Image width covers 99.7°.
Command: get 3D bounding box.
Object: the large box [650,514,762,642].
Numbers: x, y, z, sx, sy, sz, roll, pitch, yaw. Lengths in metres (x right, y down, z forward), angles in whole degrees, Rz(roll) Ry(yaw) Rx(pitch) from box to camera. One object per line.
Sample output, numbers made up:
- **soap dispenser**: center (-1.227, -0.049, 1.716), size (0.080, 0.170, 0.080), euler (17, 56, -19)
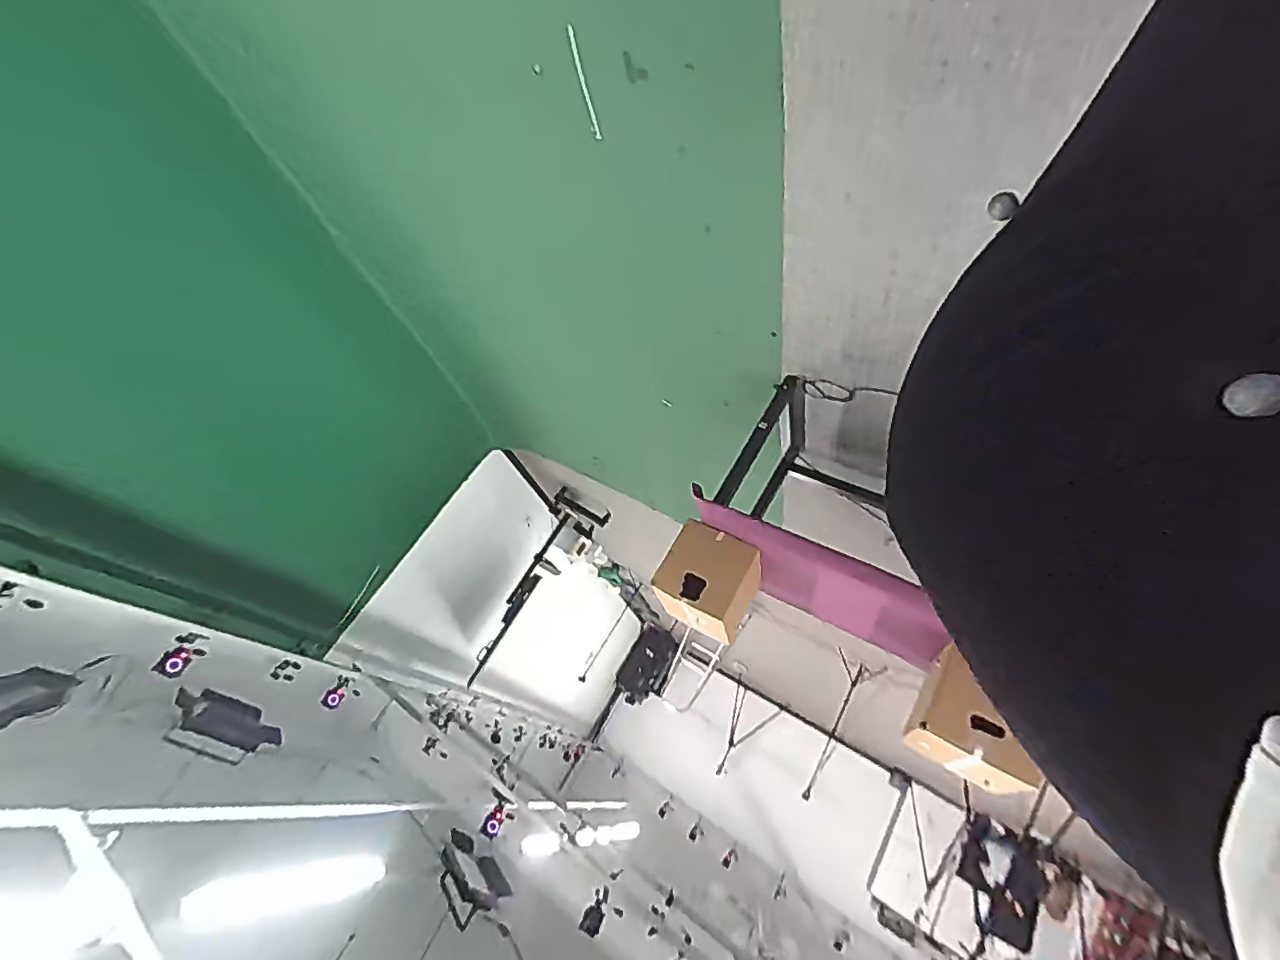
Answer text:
- **large box**: center (0.284, 0.400, 2.178), size (0.320, 0.320, 0.408), euler (22, 158, 24)
